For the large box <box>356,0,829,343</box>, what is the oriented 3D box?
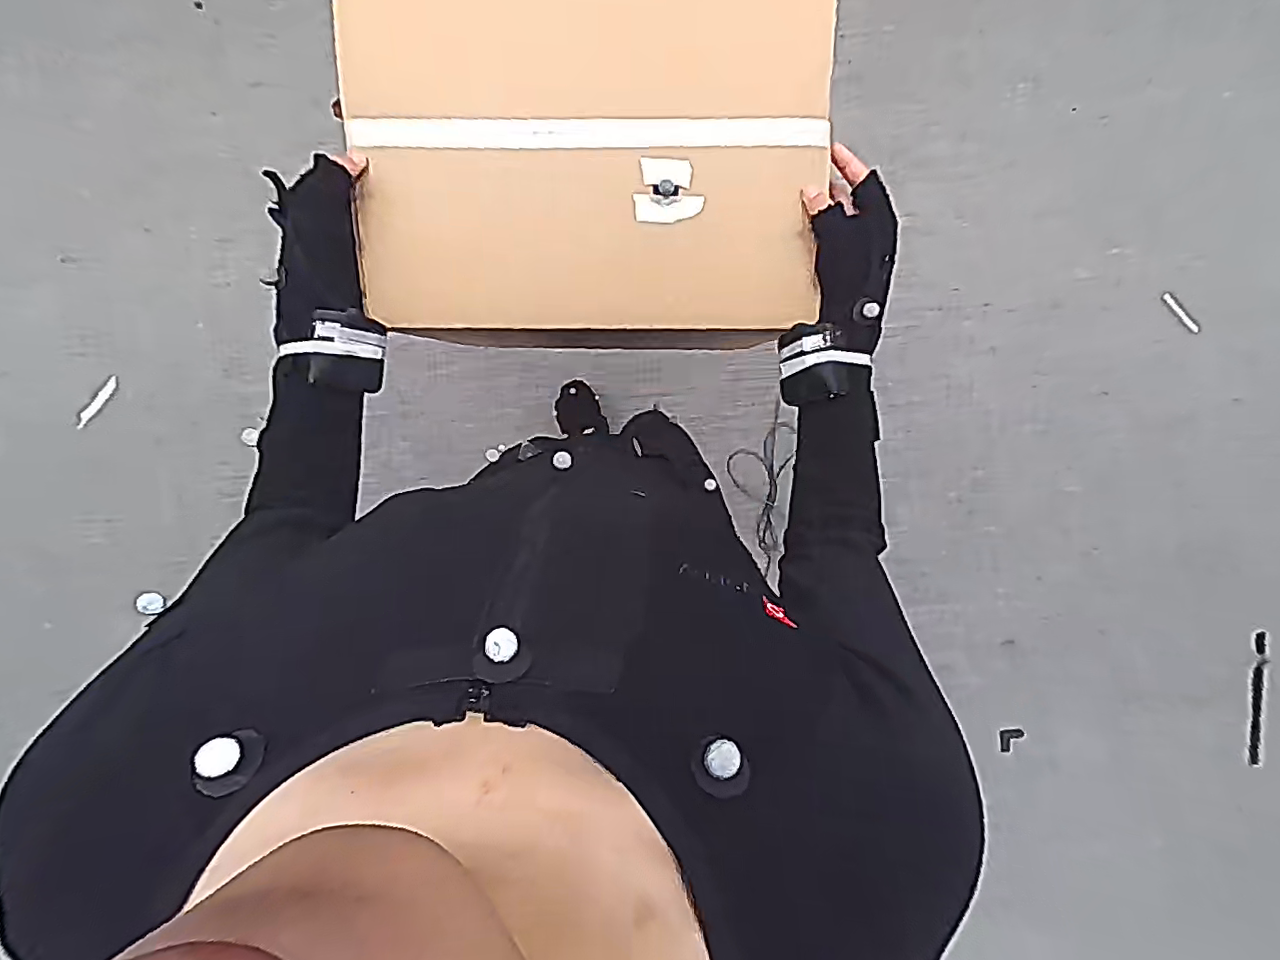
[{"bbox_3d":[-0.042,-0.327,0.616,0.408,0.320,0.320,0,102,-1],"label":"large box"}]
